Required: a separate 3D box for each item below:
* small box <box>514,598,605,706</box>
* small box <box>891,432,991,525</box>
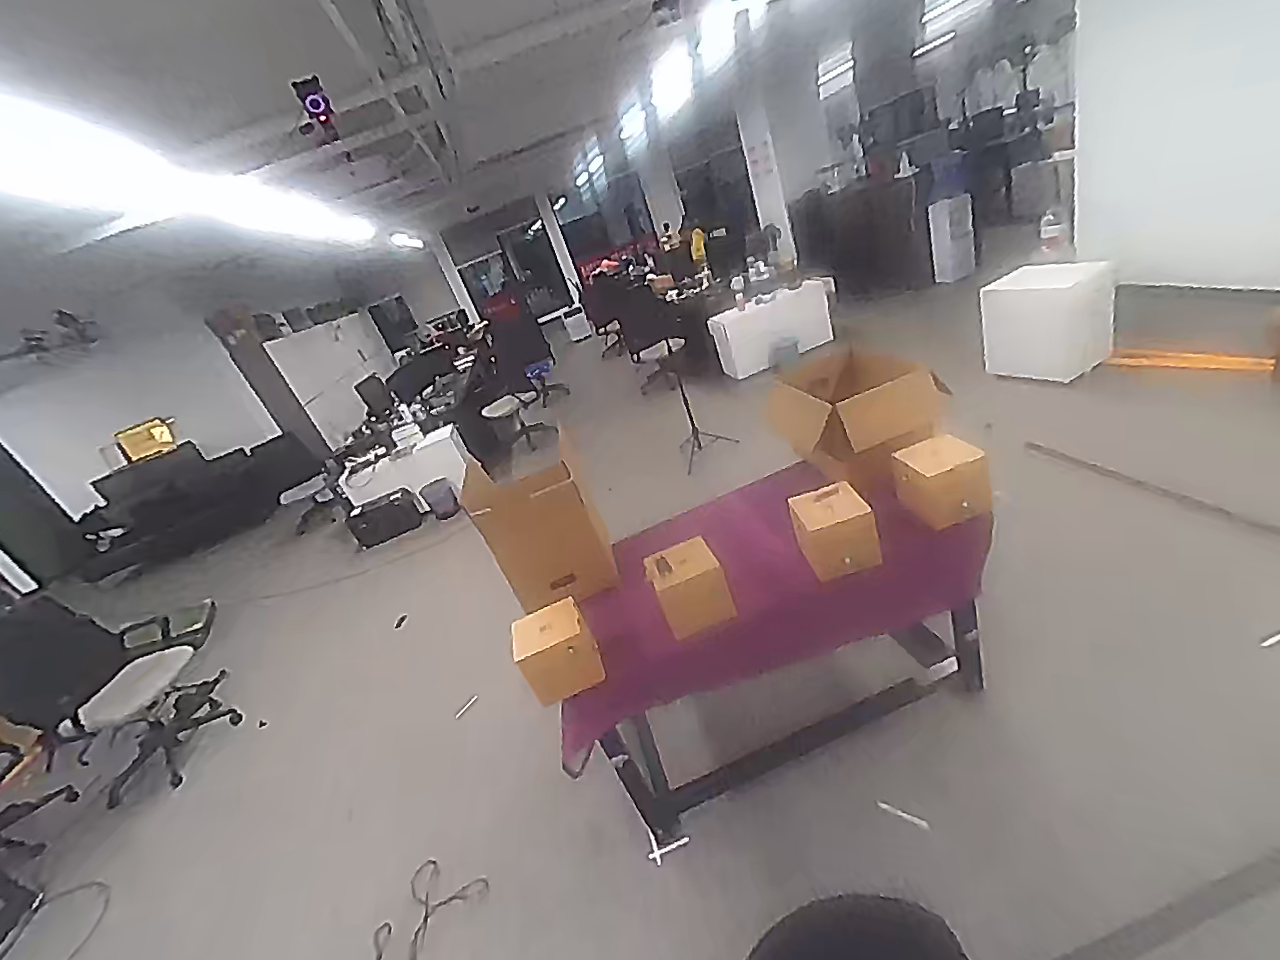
[{"bbox_3d":[-0.209,0.445,1.400,0.179,0.176,0.168,-24,25,-6],"label":"small box"},{"bbox_3d":[0.814,-0.004,1.465,0.168,0.176,0.179,-22,24,2],"label":"small box"}]
